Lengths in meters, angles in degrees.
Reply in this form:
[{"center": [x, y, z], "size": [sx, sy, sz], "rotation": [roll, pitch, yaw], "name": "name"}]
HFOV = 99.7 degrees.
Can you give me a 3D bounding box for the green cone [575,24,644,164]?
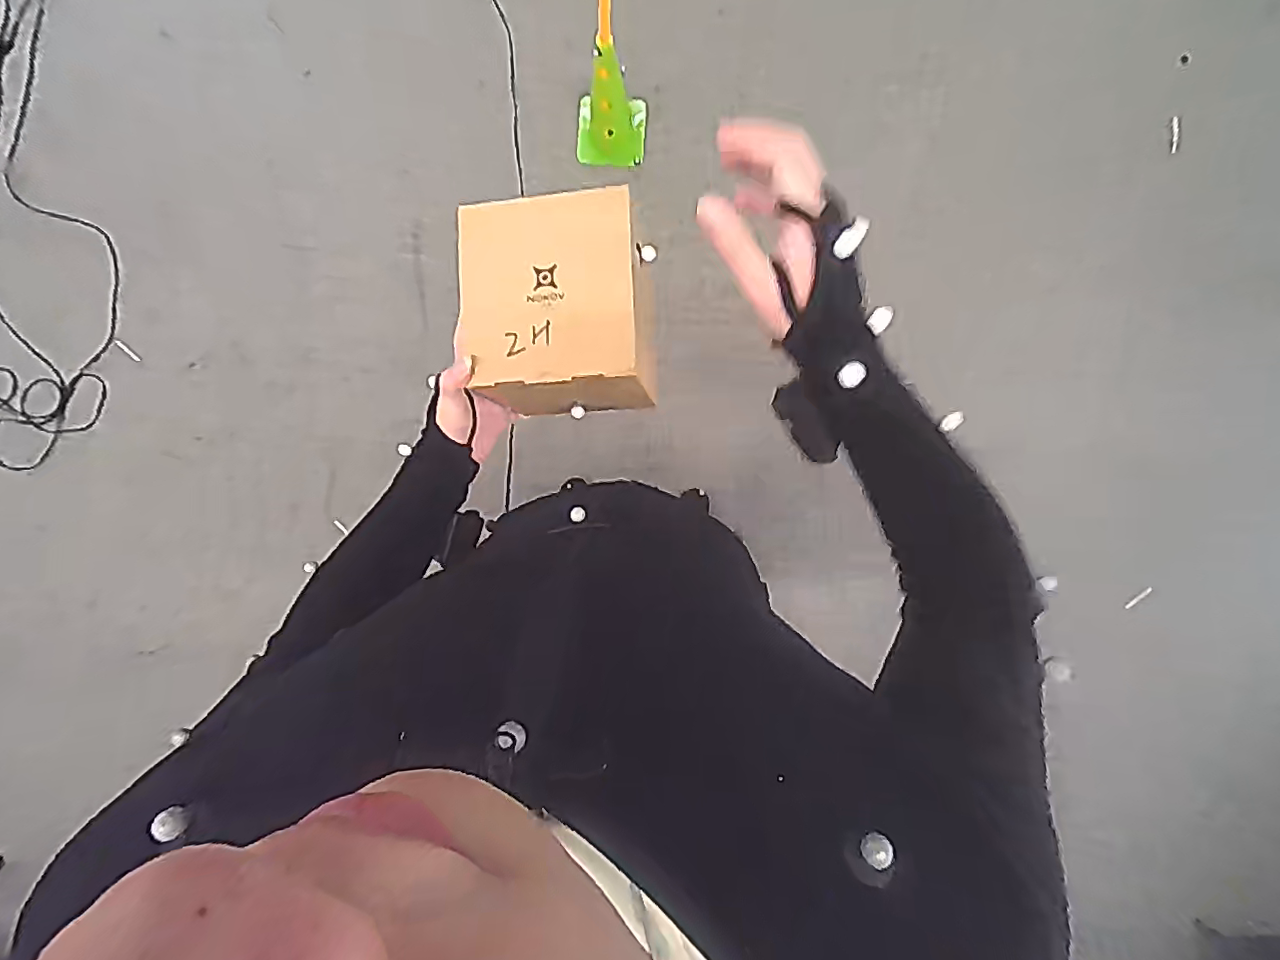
[{"center": [-0.094, -1.042, 1.434], "size": [0.202, 0.368, 0.200], "rotation": [3, 89, 1], "name": "green cone"}]
